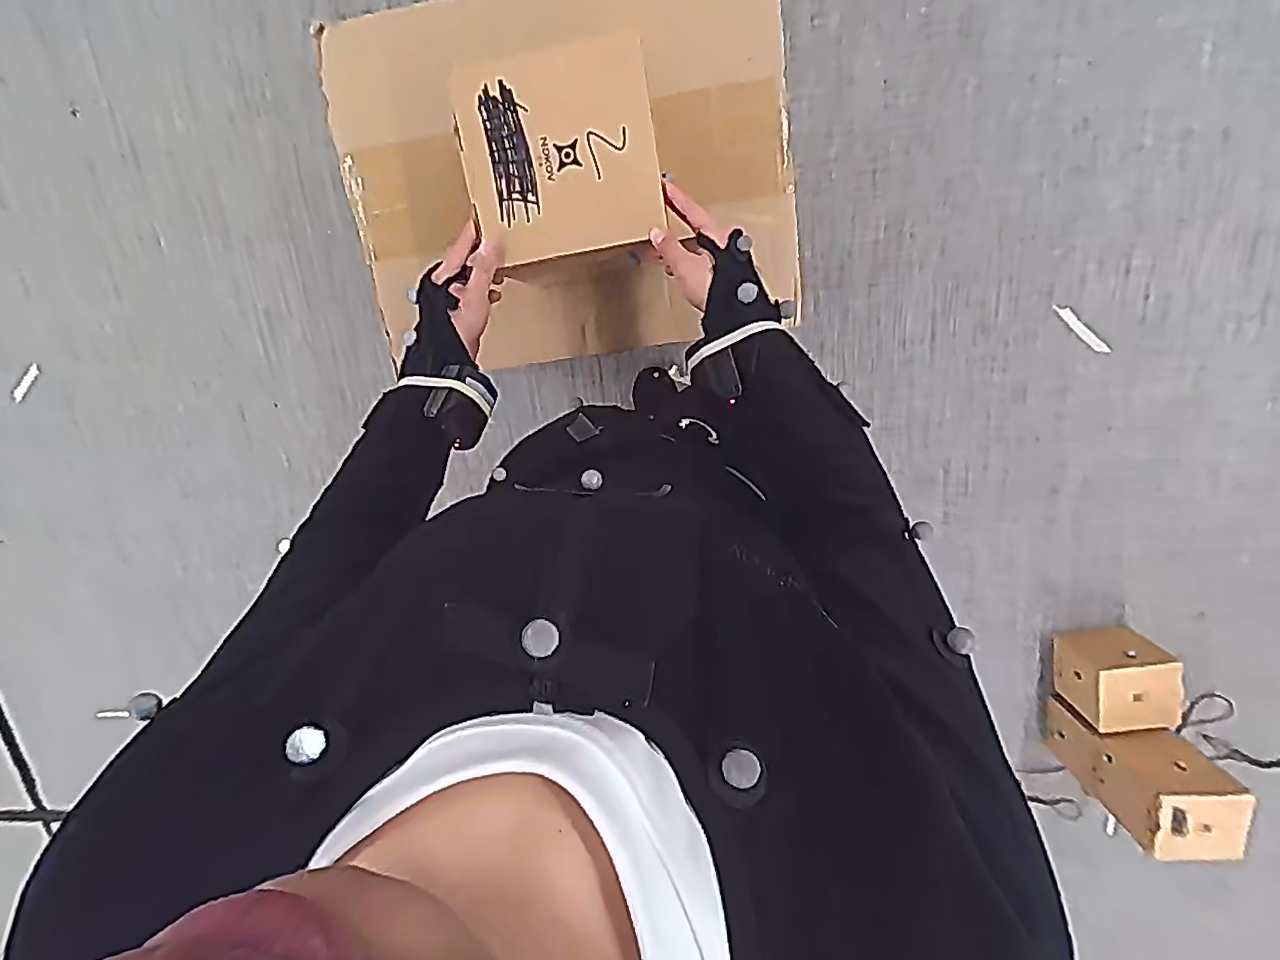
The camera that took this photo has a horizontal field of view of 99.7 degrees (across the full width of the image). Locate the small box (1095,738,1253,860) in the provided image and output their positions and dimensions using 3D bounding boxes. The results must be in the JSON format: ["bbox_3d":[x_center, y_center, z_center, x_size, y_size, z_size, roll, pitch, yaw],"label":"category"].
[{"bbox_3d":[1.148,0.688,1.181,0.179,0.176,0.168,-4,104,4],"label":"small box"}]
